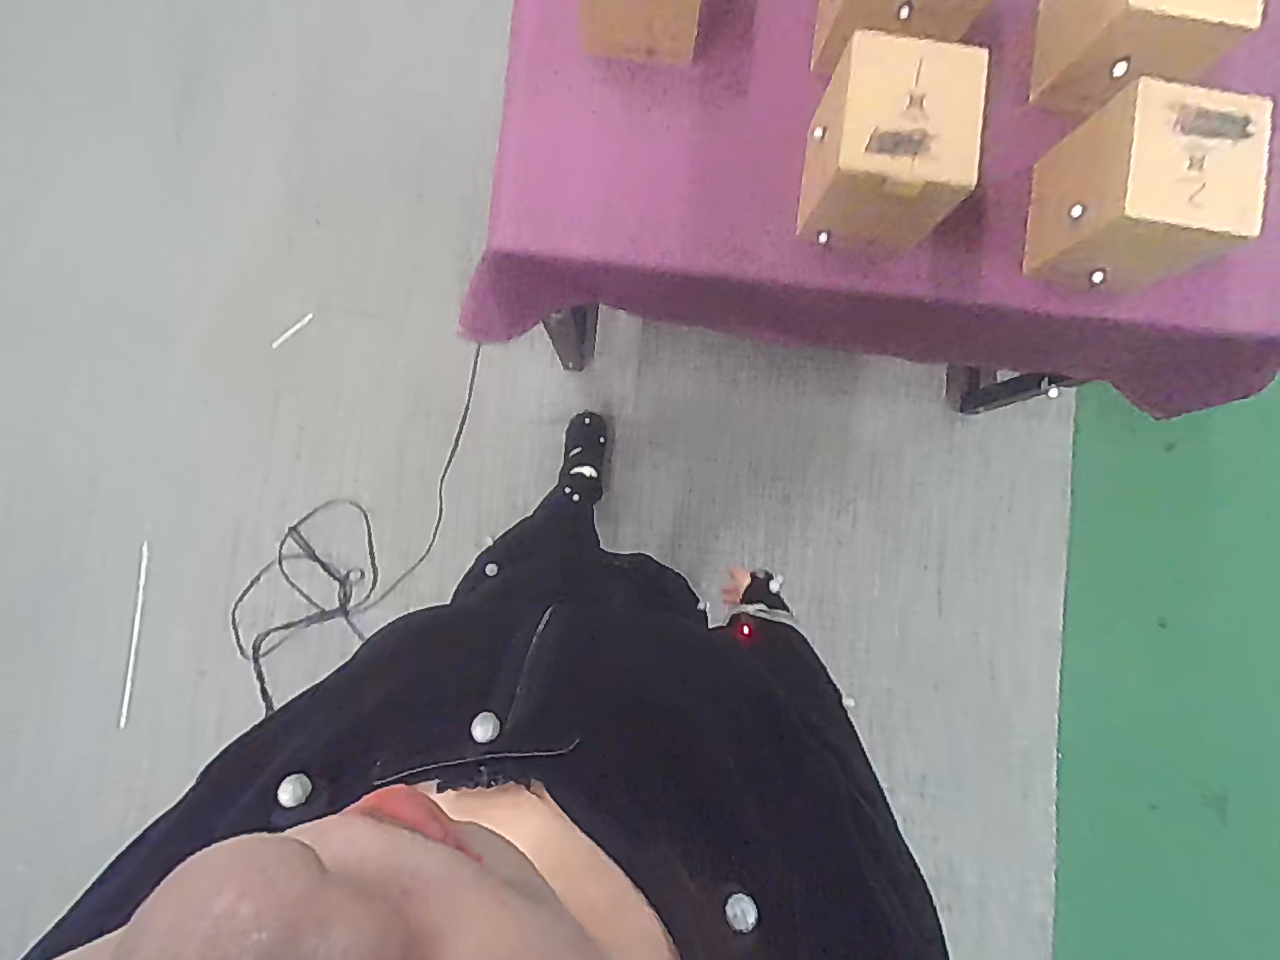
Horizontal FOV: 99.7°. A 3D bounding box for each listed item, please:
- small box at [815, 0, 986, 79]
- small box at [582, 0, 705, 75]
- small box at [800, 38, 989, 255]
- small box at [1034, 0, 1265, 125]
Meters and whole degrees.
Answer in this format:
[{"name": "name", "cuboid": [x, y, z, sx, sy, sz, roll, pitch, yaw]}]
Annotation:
[{"name": "small box", "cuboid": [0.355, -0.672, 0.736, 0.179, 0.176, 0.168, 9, 87, -1]}, {"name": "small box", "cuboid": [0.011, -0.704, 0.731, 0.168, 0.176, 0.179, 7, 86, -1]}, {"name": "small box", "cuboid": [0.322, -0.425, 0.718, 0.168, 0.176, 0.179, 8, 85, -1]}, {"name": "small box", "cuboid": [0.681, -0.629, 0.738, 0.168, 0.176, 0.179, 9, 86, 0]}]
